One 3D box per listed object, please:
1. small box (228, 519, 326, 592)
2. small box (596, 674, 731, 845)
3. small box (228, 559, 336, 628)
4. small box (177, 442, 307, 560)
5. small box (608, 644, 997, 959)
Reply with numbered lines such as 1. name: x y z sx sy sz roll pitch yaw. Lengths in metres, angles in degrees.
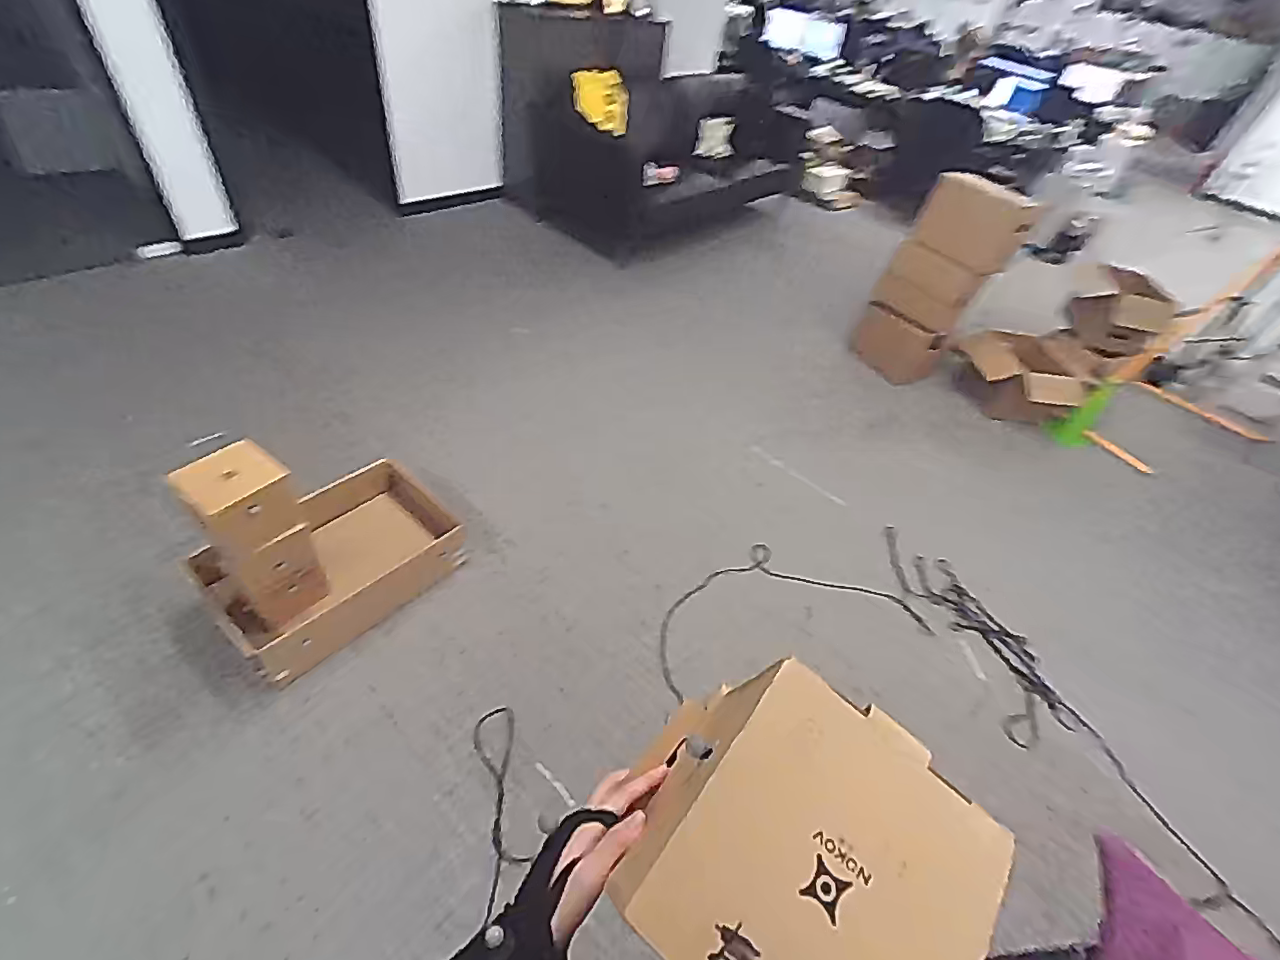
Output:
1. small box: -0.941 0.162 1.385 0.179 0.176 0.168 37 49 21
2. small box: 0.074 0.324 0.519 0.179 0.176 0.168 40 62 14
3. small box: -0.980 0.275 1.497 0.168 0.176 0.179 34 47 19
4. small box: -0.917 0.050 1.270 0.168 0.176 0.179 32 48 16
5. small box: 0.092 0.250 0.373 0.168 0.176 0.179 37 61 13
